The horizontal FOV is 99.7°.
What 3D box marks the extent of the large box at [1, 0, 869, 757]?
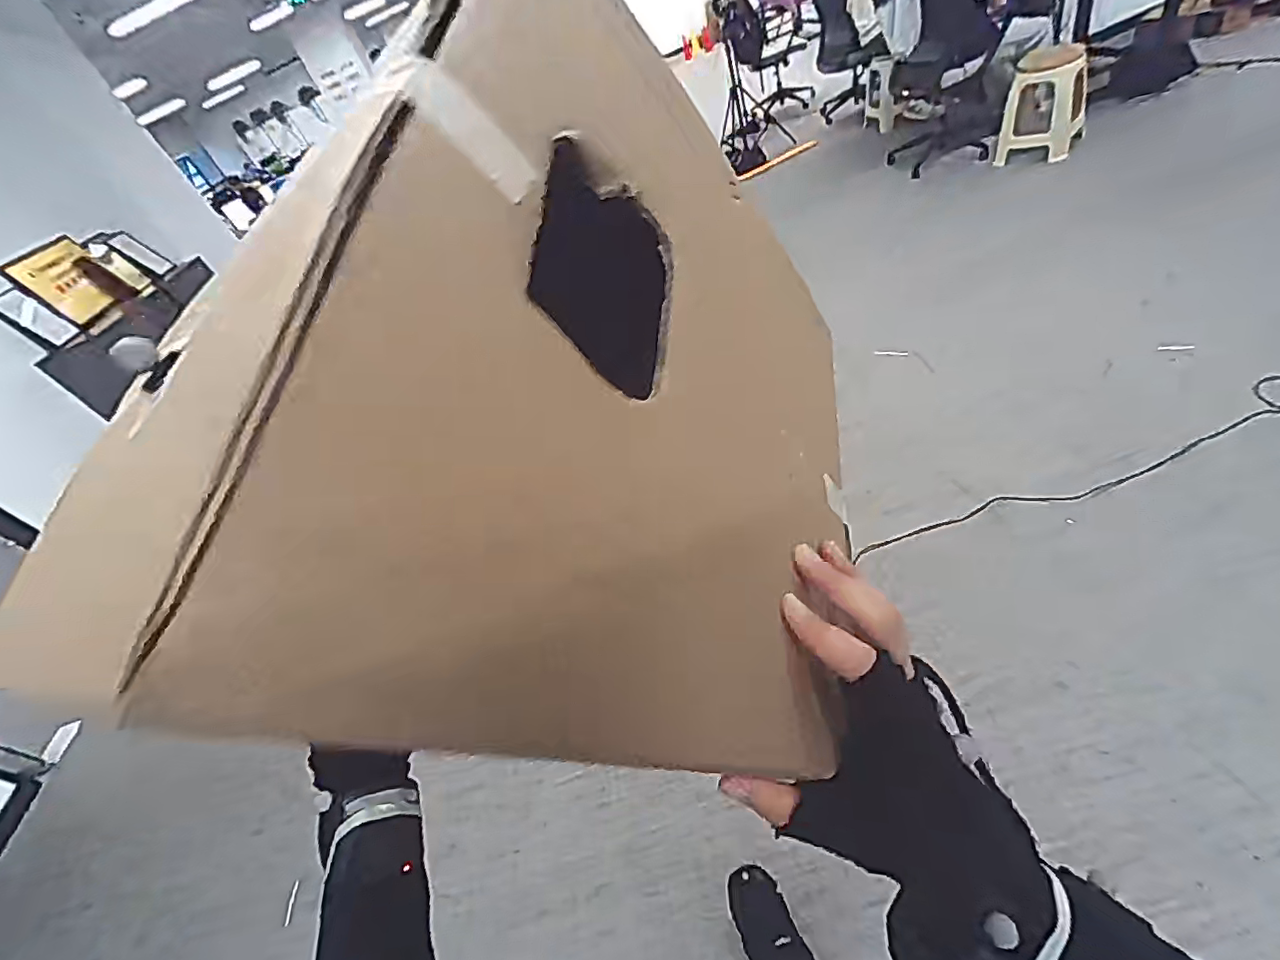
[{"bbox_3d":[-0.106,-0.002,0.370,0.408,0.320,0.320,-15,58,35],"label":"large box"}]
